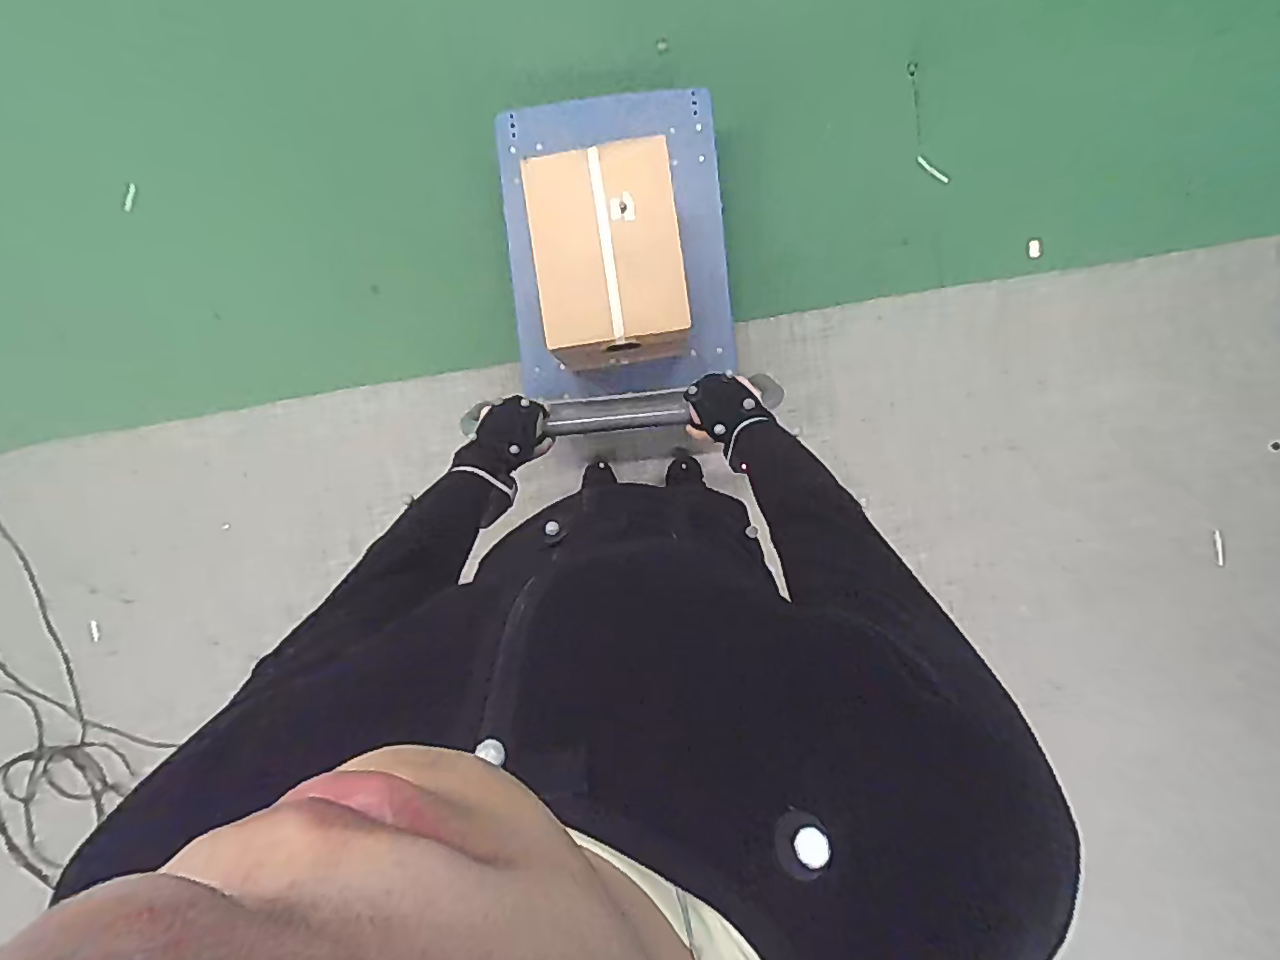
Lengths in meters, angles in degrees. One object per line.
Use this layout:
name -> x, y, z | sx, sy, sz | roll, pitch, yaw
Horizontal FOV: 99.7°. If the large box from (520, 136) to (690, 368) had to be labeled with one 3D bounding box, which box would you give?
large box -> -0.067, -0.511, 1.296 | 0.320, 0.320, 0.408 | -8, 93, 2
